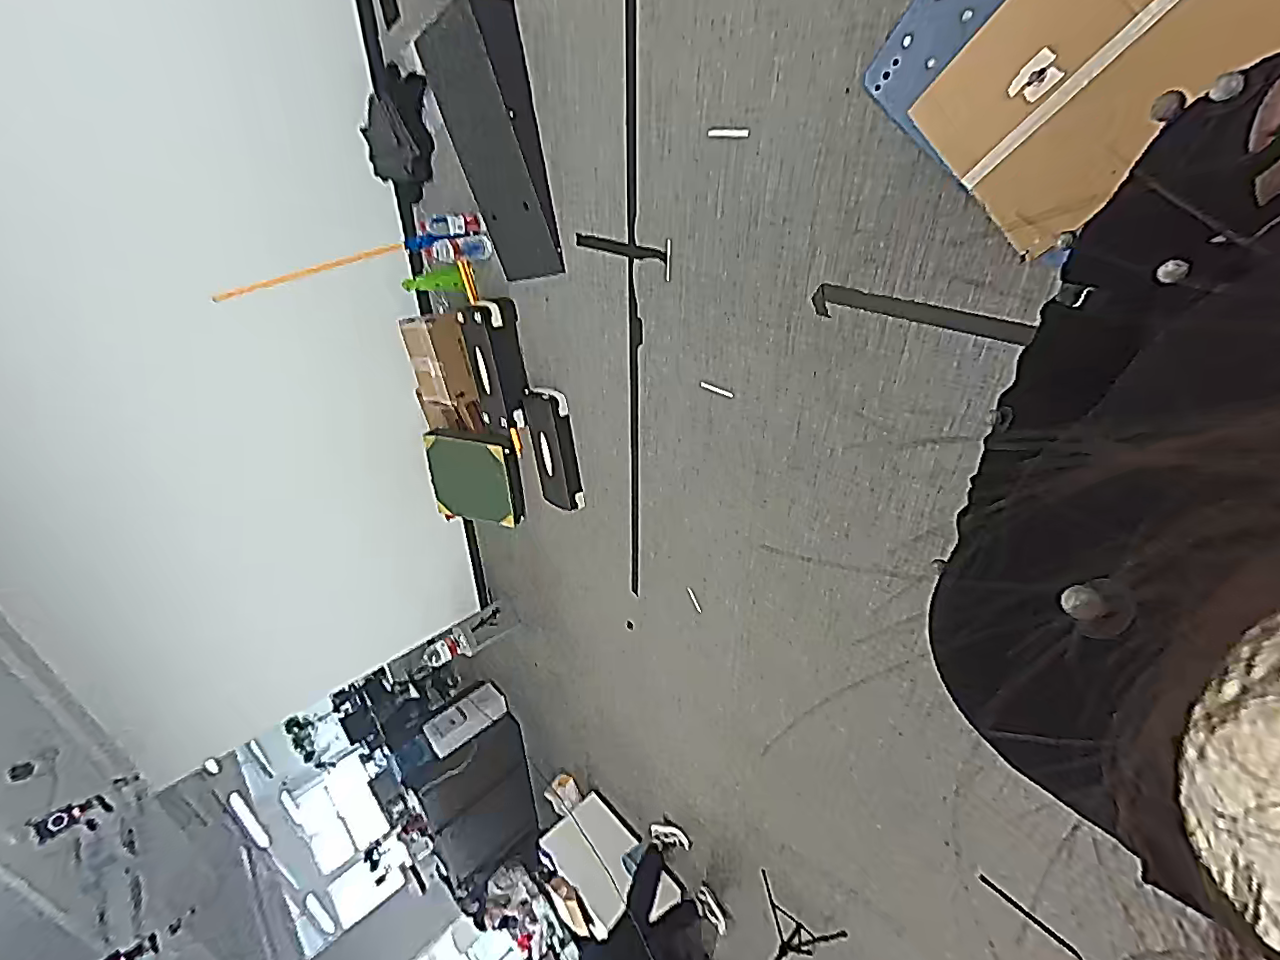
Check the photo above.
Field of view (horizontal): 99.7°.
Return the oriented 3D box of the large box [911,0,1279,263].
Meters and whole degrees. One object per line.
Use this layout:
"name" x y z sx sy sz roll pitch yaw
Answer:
"large box" 0.703 -0.590 0.769 0.320 0.320 0.408 58 143 8
